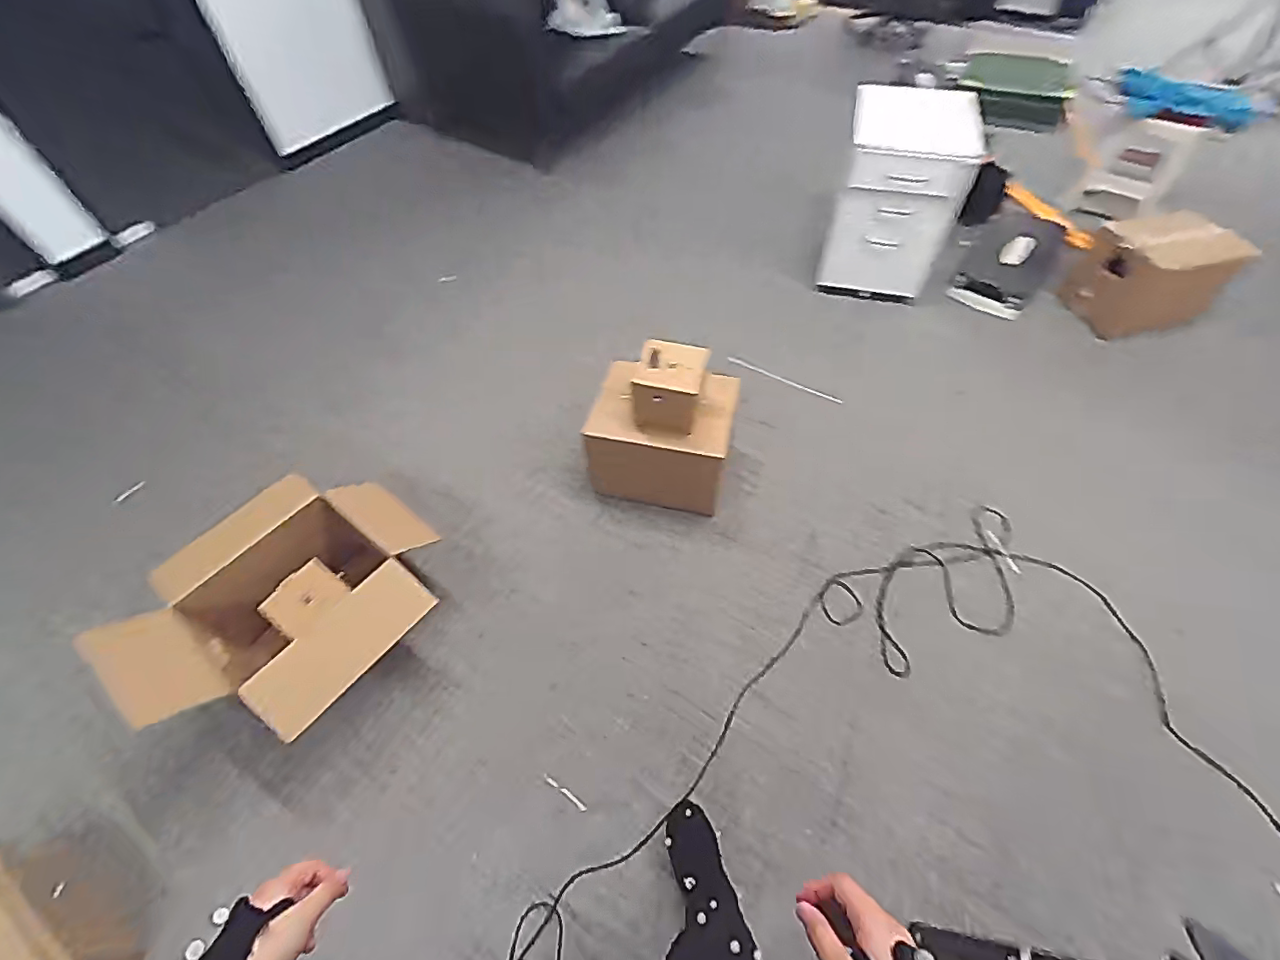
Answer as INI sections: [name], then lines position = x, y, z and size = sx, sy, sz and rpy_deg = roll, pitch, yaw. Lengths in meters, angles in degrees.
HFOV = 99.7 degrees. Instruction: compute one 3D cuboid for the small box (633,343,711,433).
[small box]
position = 0.089, -0.249, 1.492
size = 0.179, 0.176, 0.168
rpy_deg = 12, 58, 10
